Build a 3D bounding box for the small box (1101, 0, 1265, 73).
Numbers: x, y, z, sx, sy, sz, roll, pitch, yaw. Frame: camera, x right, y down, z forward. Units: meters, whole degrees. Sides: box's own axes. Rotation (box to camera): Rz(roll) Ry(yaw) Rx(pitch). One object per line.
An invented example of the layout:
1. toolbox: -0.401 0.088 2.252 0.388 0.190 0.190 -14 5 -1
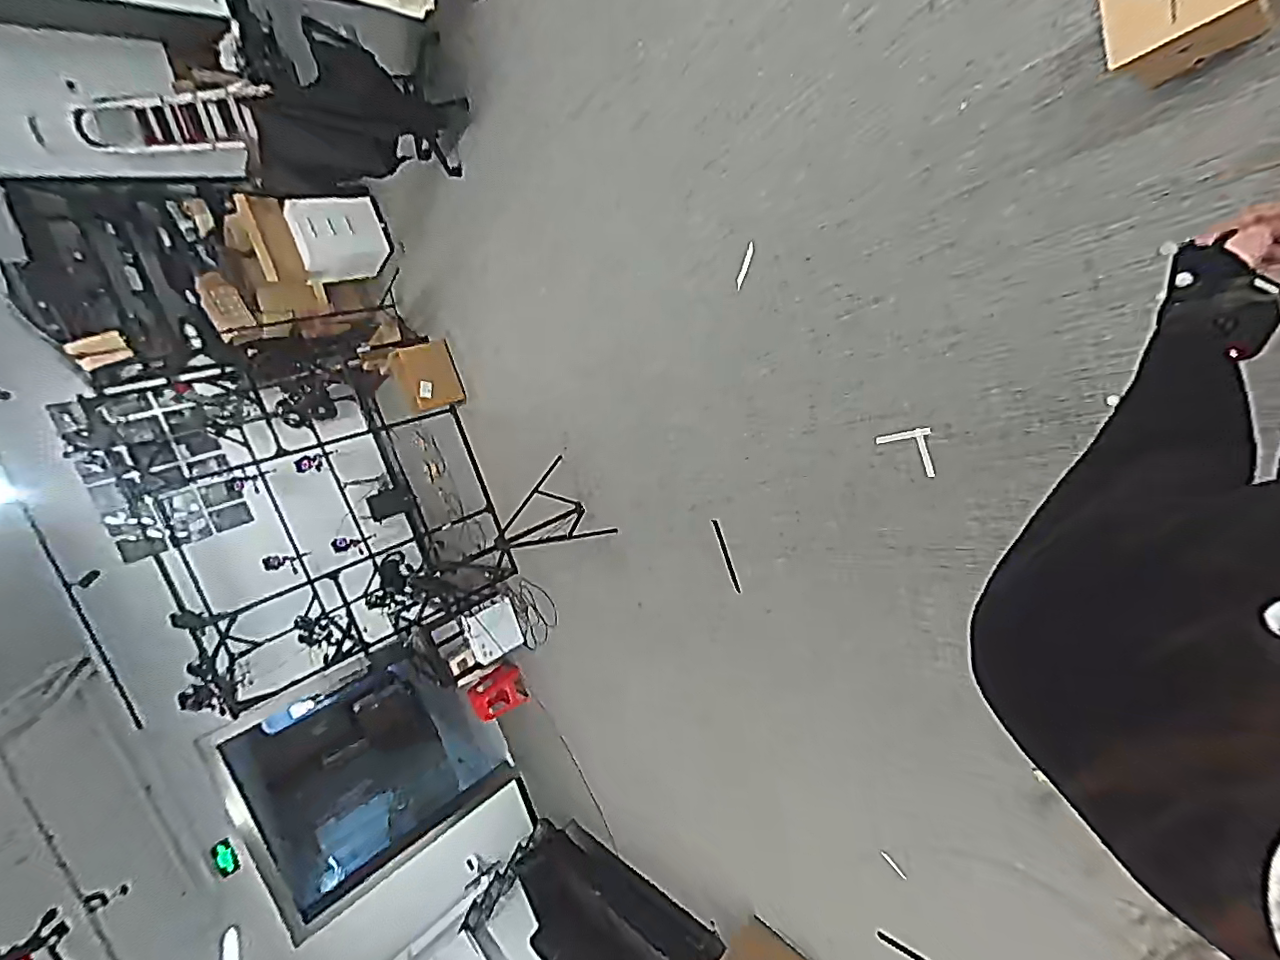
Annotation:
1. small box: 0.851 -0.786 0.852 0.168 0.176 0.179 -4 107 53
